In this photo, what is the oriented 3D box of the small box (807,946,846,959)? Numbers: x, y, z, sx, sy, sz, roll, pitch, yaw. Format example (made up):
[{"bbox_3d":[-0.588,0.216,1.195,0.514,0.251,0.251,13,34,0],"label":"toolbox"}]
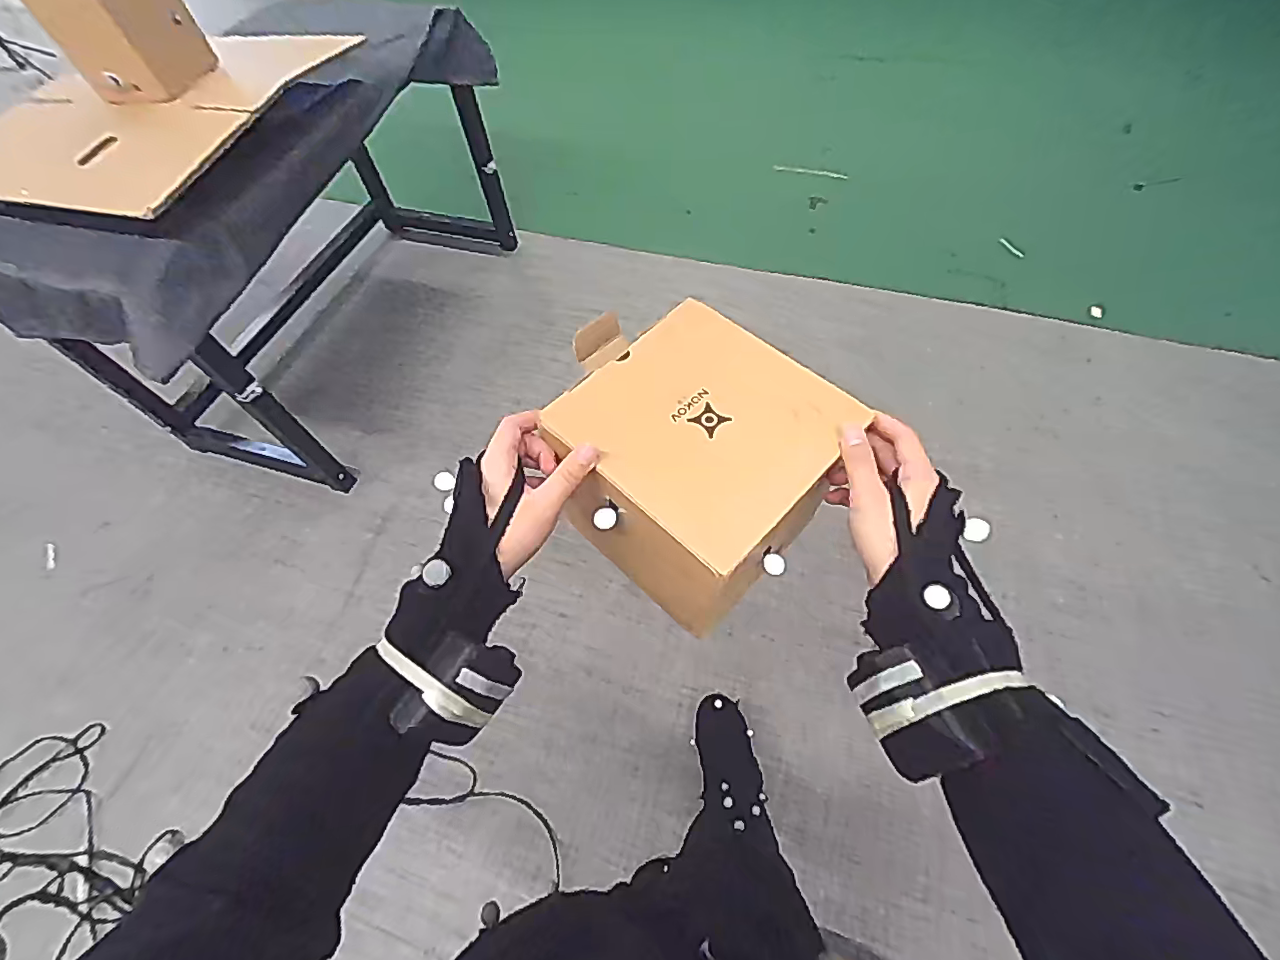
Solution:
[{"bbox_3d":[0.356,0.909,0.880,0.168,0.176,0.179,18,61,13],"label":"small box"}]

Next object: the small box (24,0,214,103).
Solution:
[{"bbox_3d":[-0.986,-0.863,1.048,0.168,0.176,0.179,5,59,10],"label":"small box"}]
